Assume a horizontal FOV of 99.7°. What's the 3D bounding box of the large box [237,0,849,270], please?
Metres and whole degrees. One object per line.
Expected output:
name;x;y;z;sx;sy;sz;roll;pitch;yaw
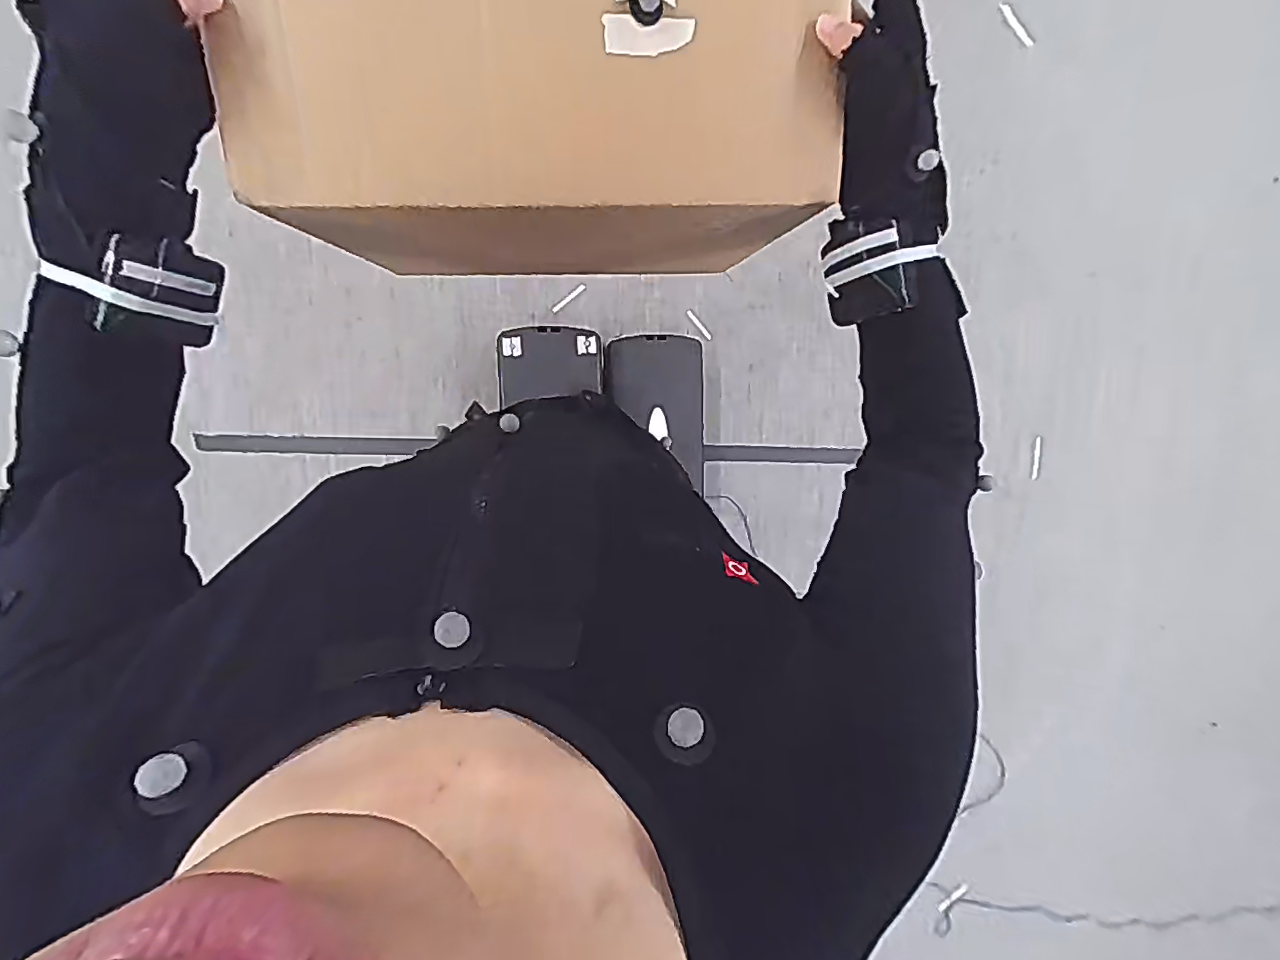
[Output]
large box;-0.072;-0.382;0.489;0.408;0.320;0.320;-3;104;-6
